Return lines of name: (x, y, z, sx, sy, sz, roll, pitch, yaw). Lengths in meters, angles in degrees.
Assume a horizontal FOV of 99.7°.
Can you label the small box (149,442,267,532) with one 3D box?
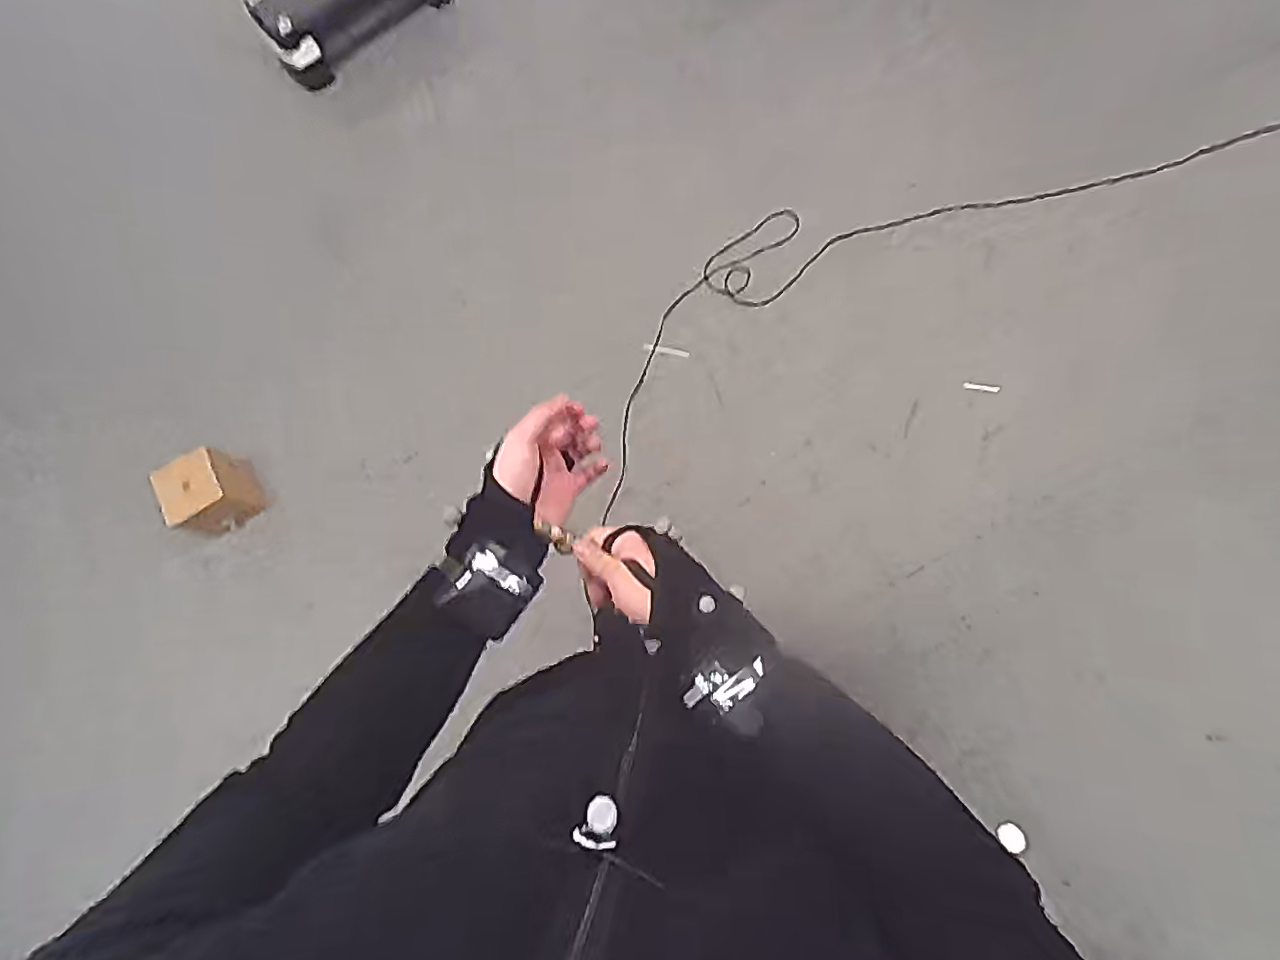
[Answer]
small box: (-1.203, 0.027, 1.515, 0.168, 0.176, 0.179, -32, 76, -3)
